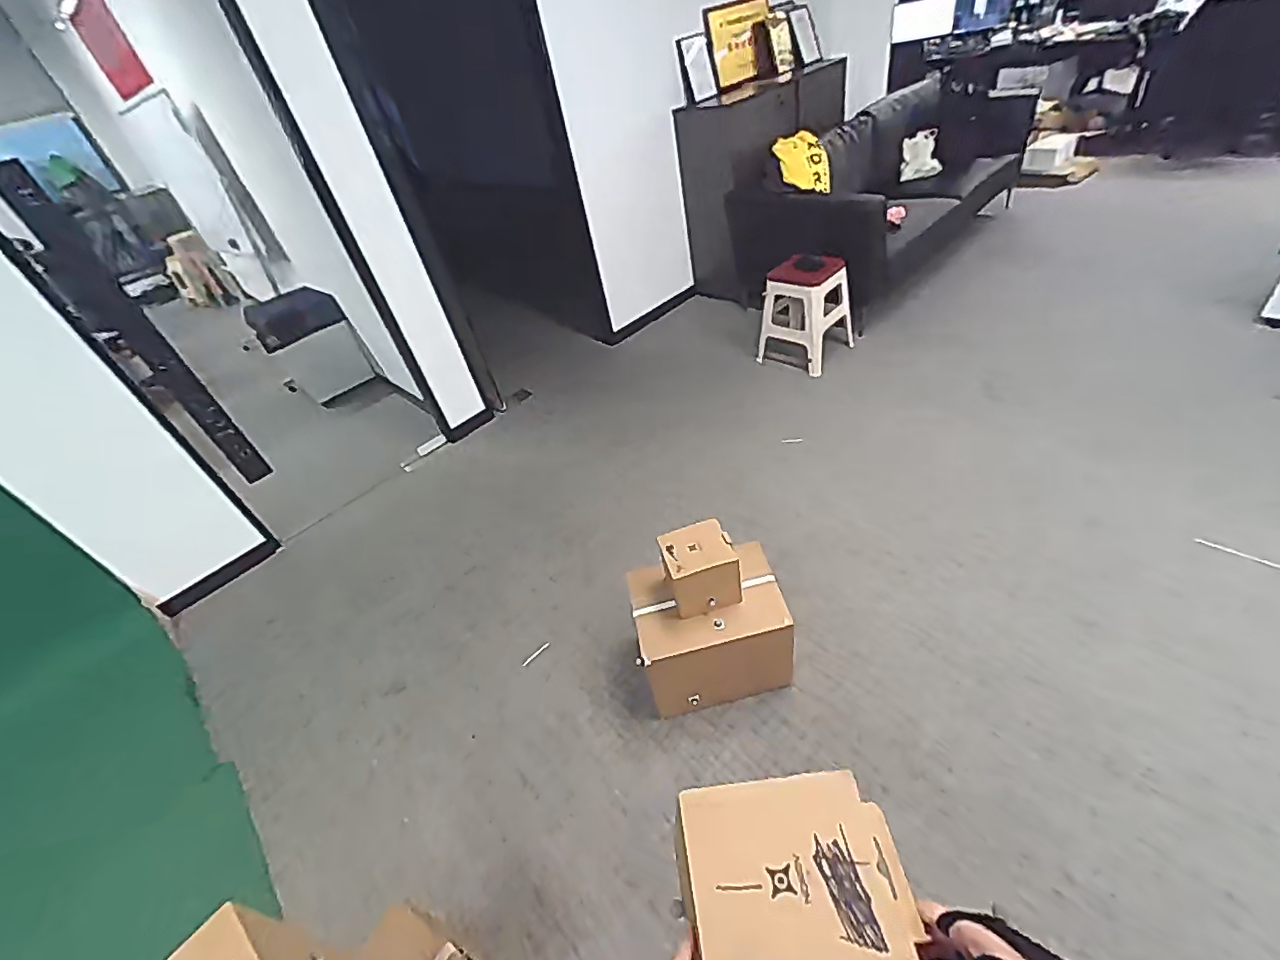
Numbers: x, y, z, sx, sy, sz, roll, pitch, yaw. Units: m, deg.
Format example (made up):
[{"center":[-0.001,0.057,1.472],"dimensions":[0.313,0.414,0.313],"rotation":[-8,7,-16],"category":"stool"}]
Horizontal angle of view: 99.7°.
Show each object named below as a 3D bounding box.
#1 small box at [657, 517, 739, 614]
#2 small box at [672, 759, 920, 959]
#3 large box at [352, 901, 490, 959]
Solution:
[{"center":[0.156,0.231,1.453],"dimensions":[0.179,0.176,0.168],"rotation":[-16,38,-5],"category":"small box"},{"center":[0.129,0.393,0.526],"dimensions":[0.179,0.176,0.168],"rotation":[-5,44,-3],"category":"small box"},{"center":[-0.429,1.098,0.980],"dimensions":[0.320,0.320,0.408],"rotation":[15,48,31],"category":"large box"}]
